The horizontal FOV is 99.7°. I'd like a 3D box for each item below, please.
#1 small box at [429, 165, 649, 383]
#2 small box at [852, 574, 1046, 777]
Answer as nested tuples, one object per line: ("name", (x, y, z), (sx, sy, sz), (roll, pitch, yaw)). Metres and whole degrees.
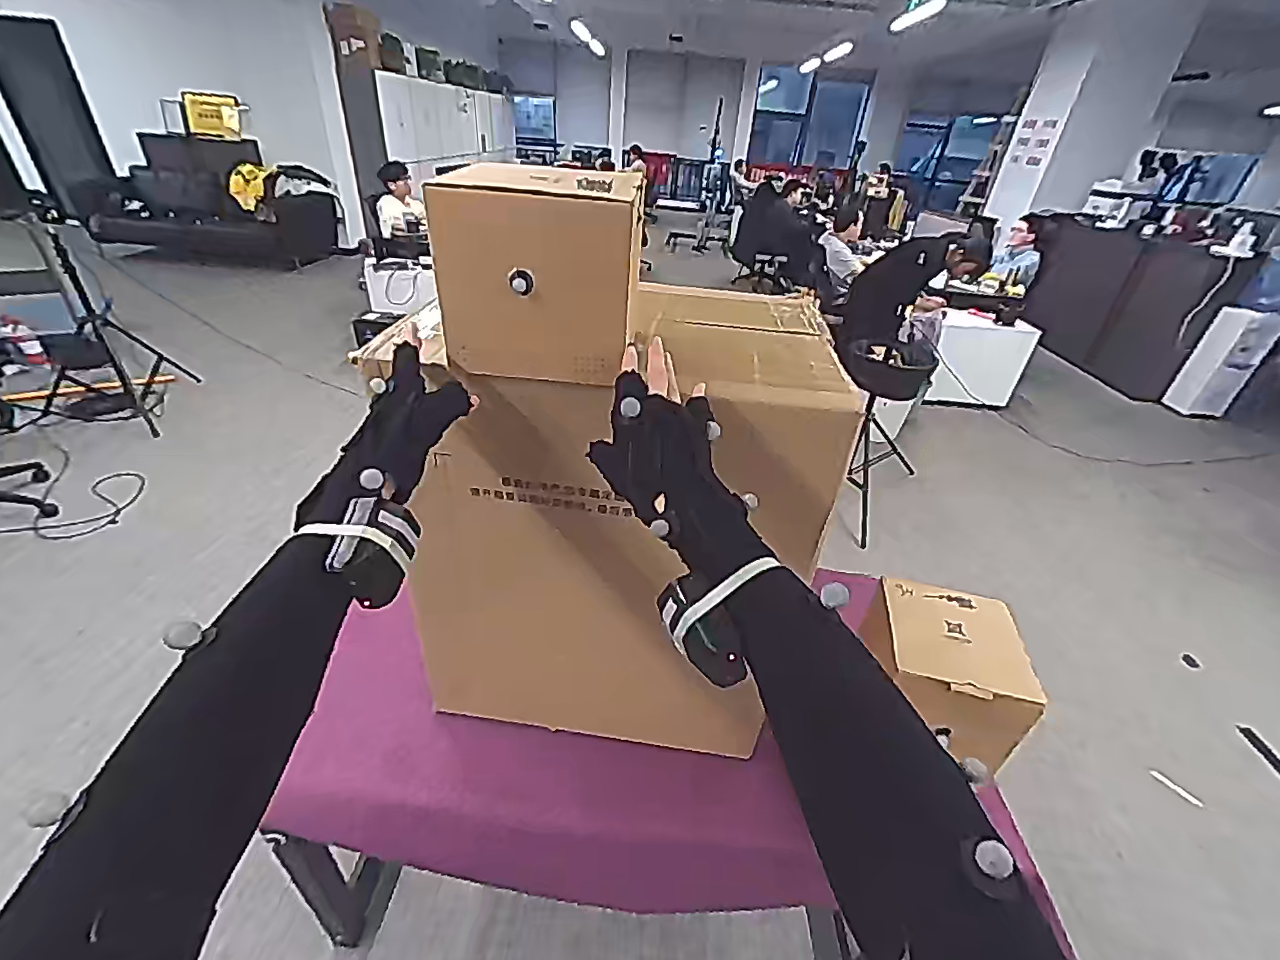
("small box", (-0.087, -0.210, 0.551), (0.179, 0.176, 0.168), (4, 35, 1))
("small box", (0.398, 0.263, 0.734), (0.168, 0.176, 0.179), (12, 34, 10))
